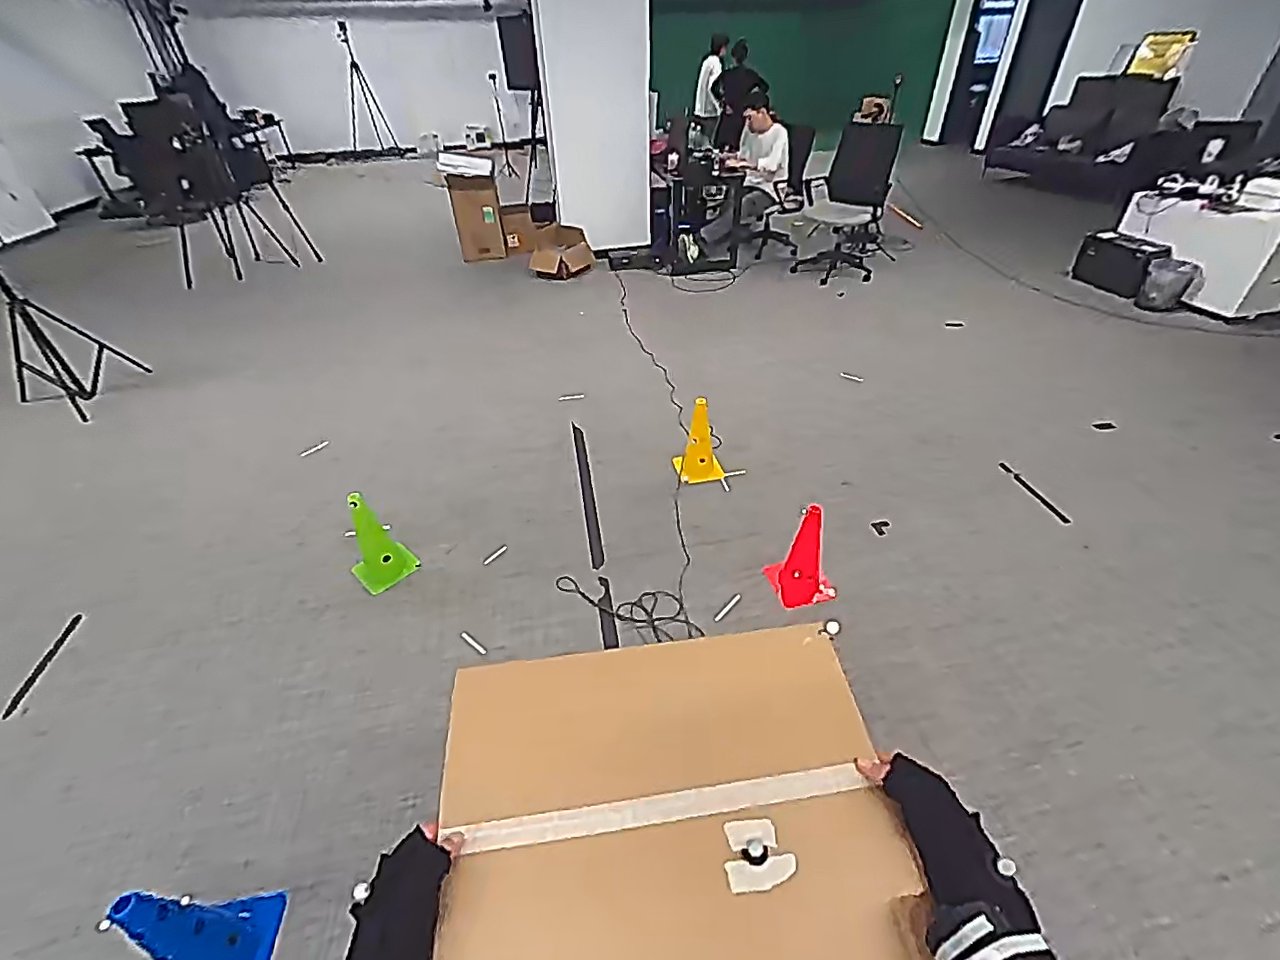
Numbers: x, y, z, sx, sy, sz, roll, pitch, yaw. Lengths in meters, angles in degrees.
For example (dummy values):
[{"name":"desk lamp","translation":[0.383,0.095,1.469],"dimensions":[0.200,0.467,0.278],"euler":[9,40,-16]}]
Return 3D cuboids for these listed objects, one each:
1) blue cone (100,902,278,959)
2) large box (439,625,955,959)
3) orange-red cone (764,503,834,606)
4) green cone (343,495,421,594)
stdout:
[{"name":"blue cone","translation":[-0.911,0.909,1.068],"dimensions":[0.192,0.380,0.193],"euler":[-7,38,-4]},{"name":"large box","translation":[0.026,0.399,0.598],"dimensions":[0.408,0.320,0.320],"euler":[-6,47,-5]},{"name":"orange-red cone","translation":[0.559,0.225,1.826],"dimensions":[0.198,0.360,0.199],"euler":[-9,37,-10]},{"name":"green cone","translation":[-0.974,0.199,1.947],"dimensions":[0.200,0.368,0.202],"euler":[27,48,33]}]
